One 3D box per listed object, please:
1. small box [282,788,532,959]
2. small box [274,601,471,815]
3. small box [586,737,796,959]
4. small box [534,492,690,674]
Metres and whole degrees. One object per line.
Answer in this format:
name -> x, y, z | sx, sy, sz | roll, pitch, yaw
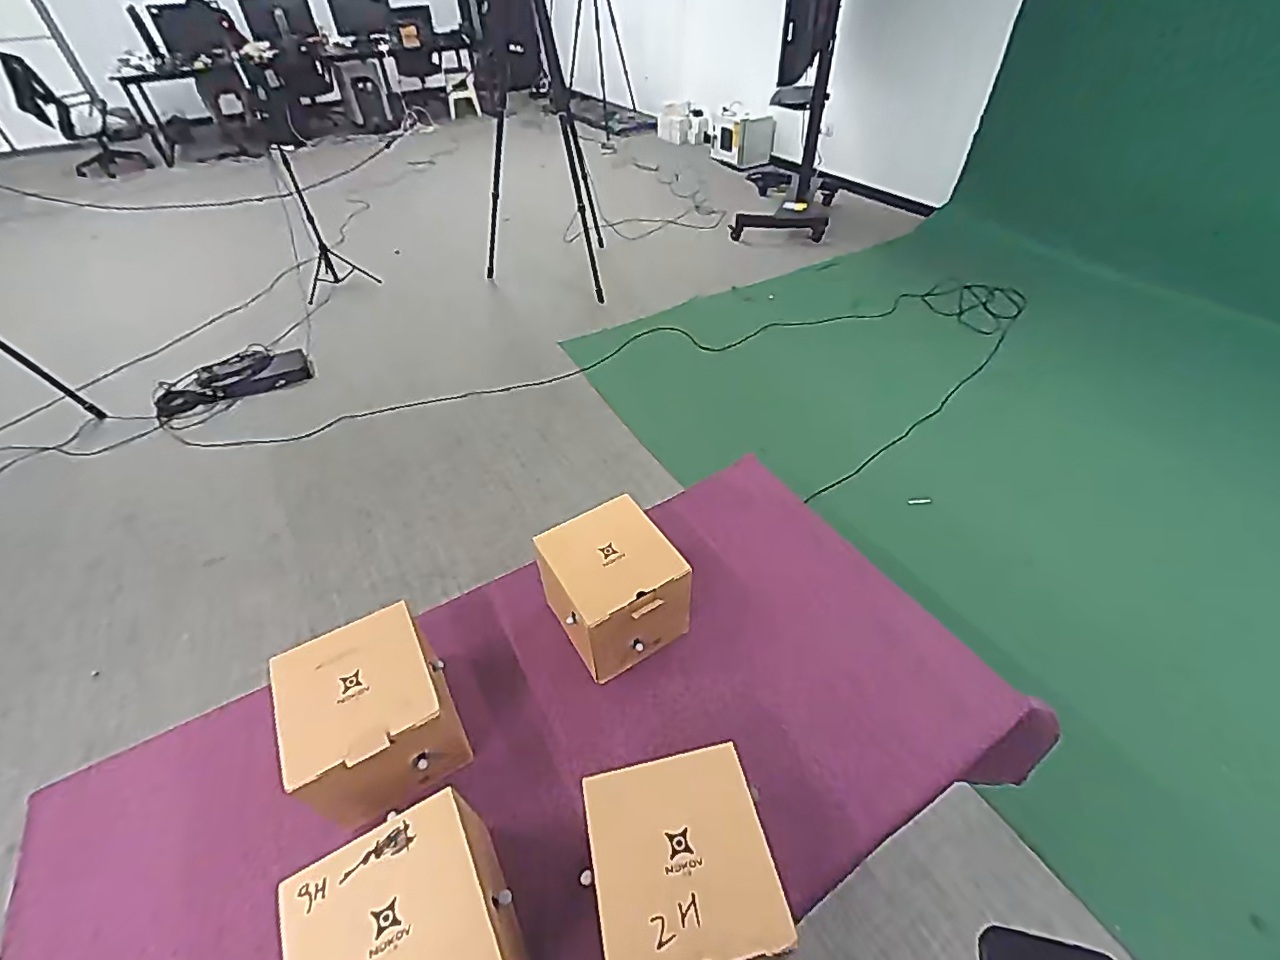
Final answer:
small box -> -0.219, 0.453, 0.535 | 0.168, 0.176, 0.179 | -23, 49, -20
small box -> -0.336, 0.298, 0.696 | 0.168, 0.176, 0.179 | -23, 49, -21
small box -> 0.041, 0.405, 0.568 | 0.168, 0.176, 0.179 | -10, 45, -7
small box -> -0.042, 0.156, 0.823 | 0.168, 0.176, 0.179 | -26, 50, -21
